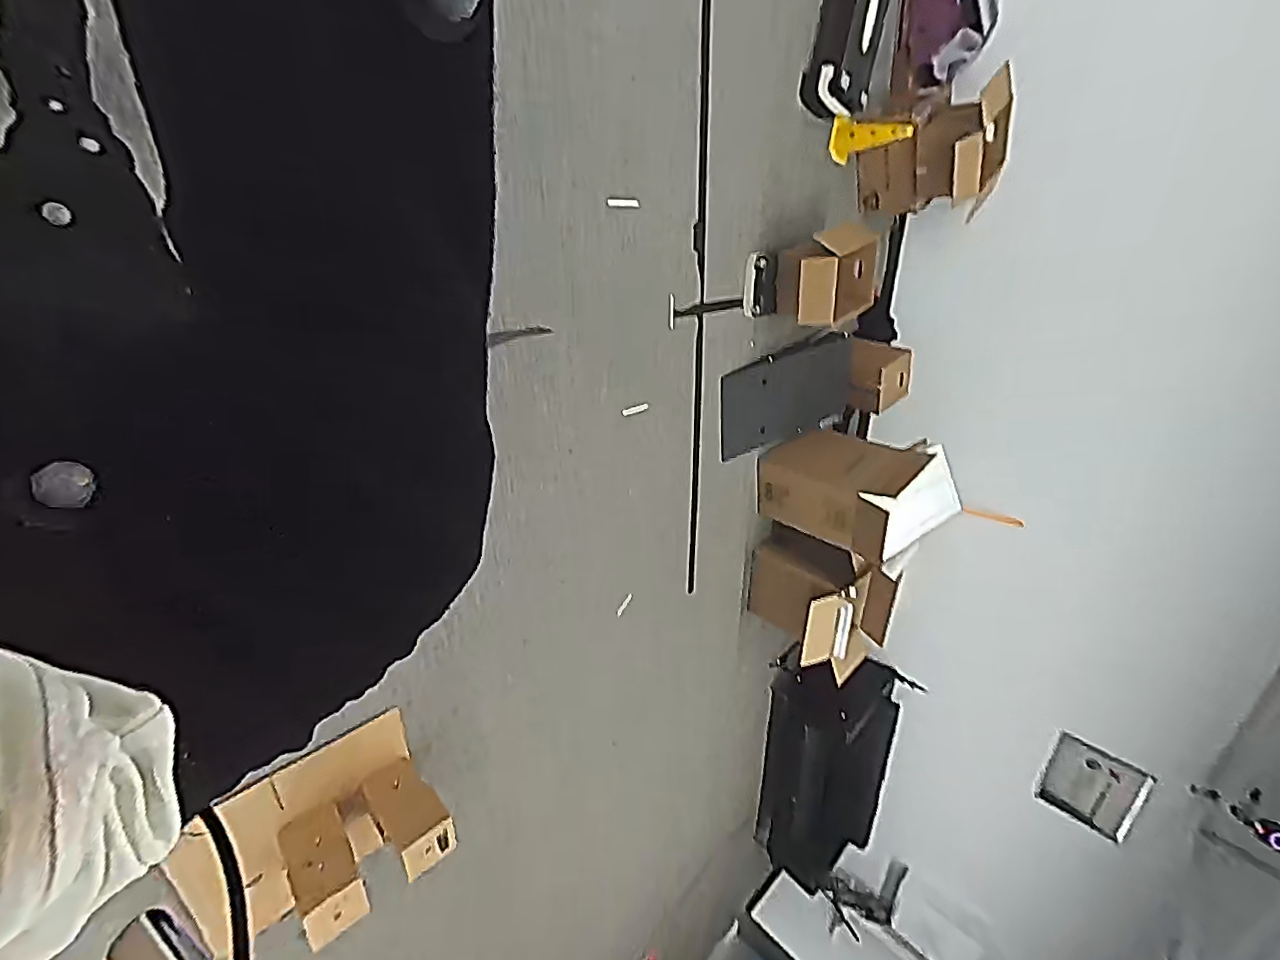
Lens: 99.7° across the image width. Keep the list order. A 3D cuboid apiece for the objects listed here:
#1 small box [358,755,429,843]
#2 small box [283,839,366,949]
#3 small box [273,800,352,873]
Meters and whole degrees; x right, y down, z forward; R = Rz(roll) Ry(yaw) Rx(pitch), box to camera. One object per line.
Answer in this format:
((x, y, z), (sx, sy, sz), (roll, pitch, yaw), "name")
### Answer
((-0.898, 1.149, 1.960), (0.179, 0.176, 0.168), (-23, 124, -41), "small box")
((-0.978, 1.273, 1.676), (0.168, 0.176, 0.179), (-20, 122, -41), "small box")
((-1.088, 1.218, 1.787), (0.179, 0.176, 0.168), (-21, 122, -41), "small box")
